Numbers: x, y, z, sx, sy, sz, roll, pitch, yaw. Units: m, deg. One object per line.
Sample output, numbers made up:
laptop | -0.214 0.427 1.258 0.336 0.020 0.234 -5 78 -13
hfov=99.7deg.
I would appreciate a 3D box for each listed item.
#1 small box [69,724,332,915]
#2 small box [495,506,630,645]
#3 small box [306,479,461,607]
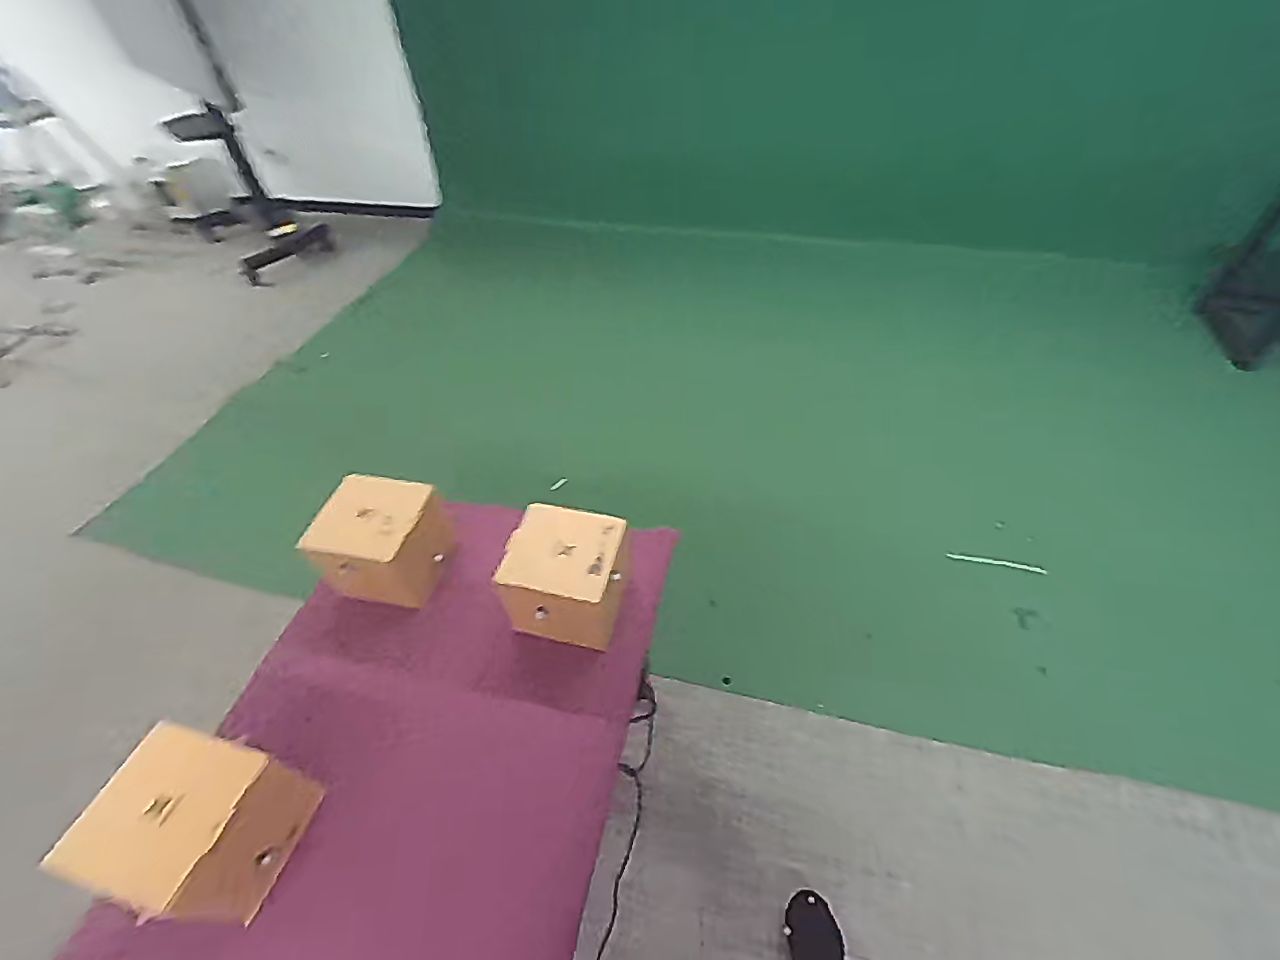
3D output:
small box | -0.569 0.459 0.730 0.179 0.176 0.168 10 49 11
small box | -0.124 0.170 0.949 0.179 0.176 0.168 9 51 12
small box | -0.469 0.121 1.018 0.179 0.176 0.168 7 52 10
